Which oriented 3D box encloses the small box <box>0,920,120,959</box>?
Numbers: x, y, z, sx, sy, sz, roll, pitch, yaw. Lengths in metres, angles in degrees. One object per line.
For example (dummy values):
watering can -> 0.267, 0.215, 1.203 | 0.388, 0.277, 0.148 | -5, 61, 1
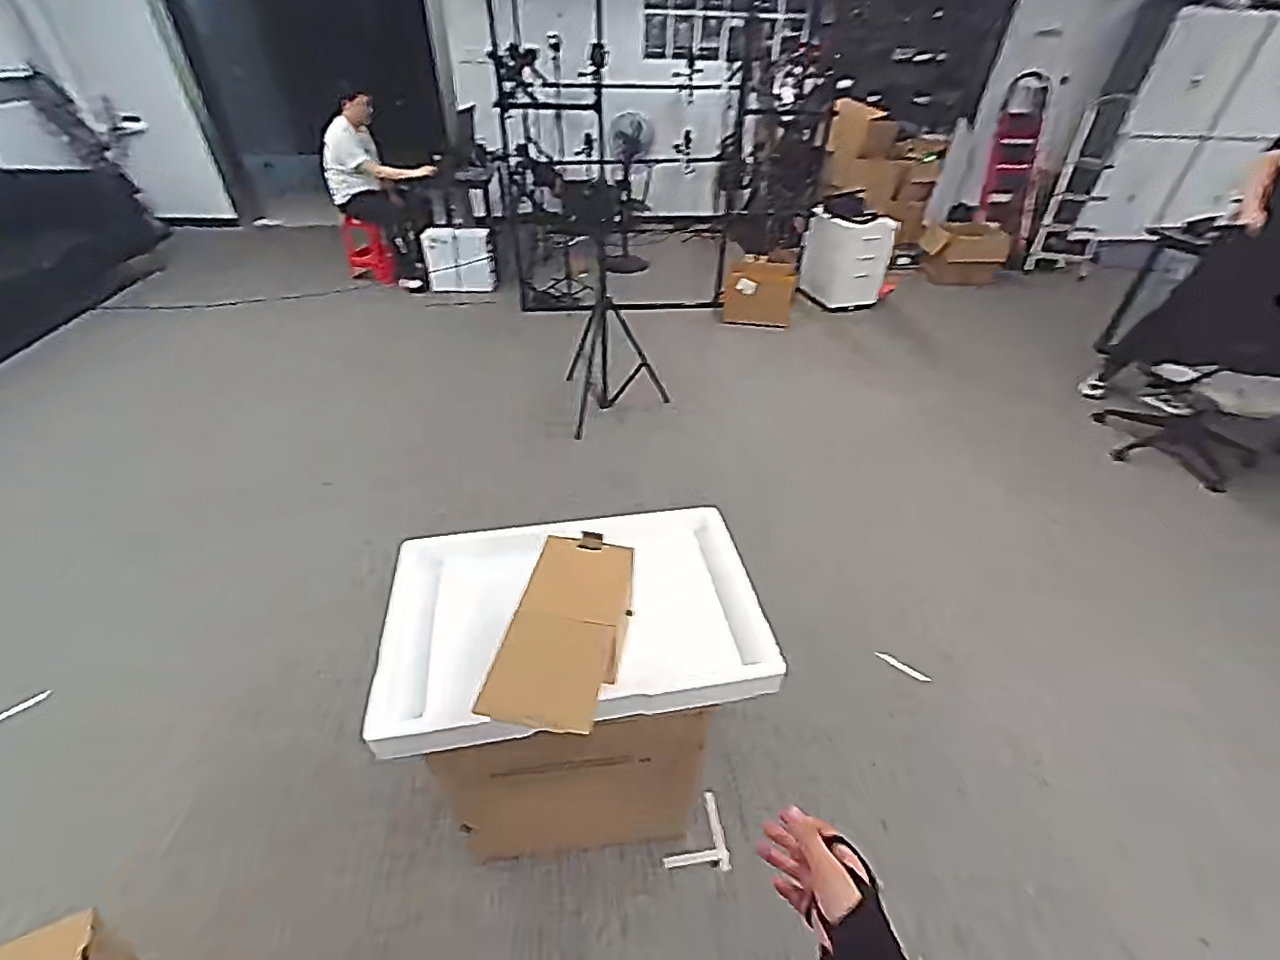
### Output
small box -> -0.477, 0.471, 0.371 | 0.179, 0.176, 0.168 | -15, 42, -34
